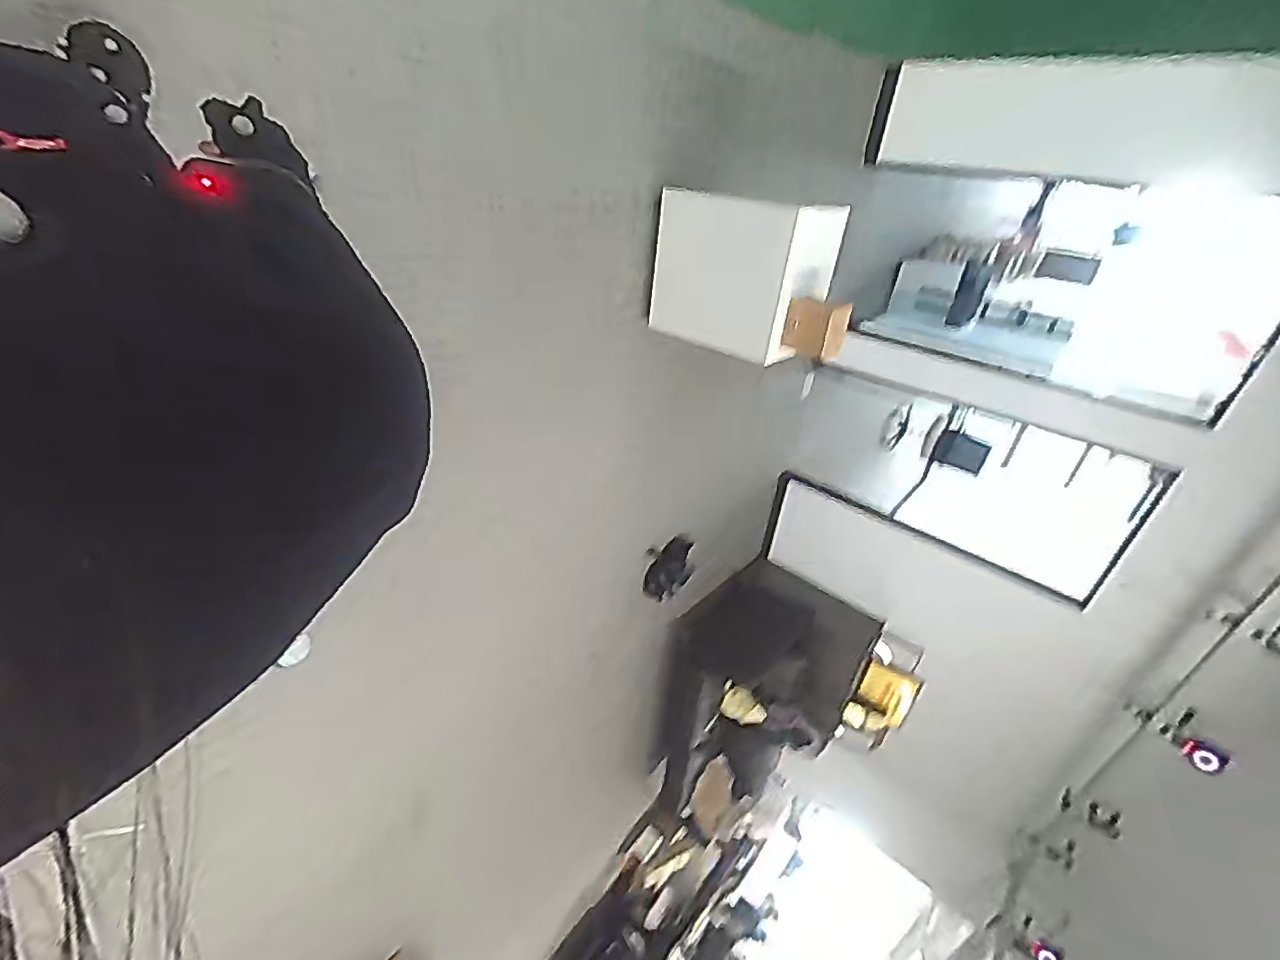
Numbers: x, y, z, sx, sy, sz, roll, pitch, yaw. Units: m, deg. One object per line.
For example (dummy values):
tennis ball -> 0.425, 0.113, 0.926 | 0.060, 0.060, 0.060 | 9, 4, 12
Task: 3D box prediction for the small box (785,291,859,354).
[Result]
small box -> 0.642, -0.563, 1.912 | 0.179, 0.176, 0.168 | -28, 133, -39
